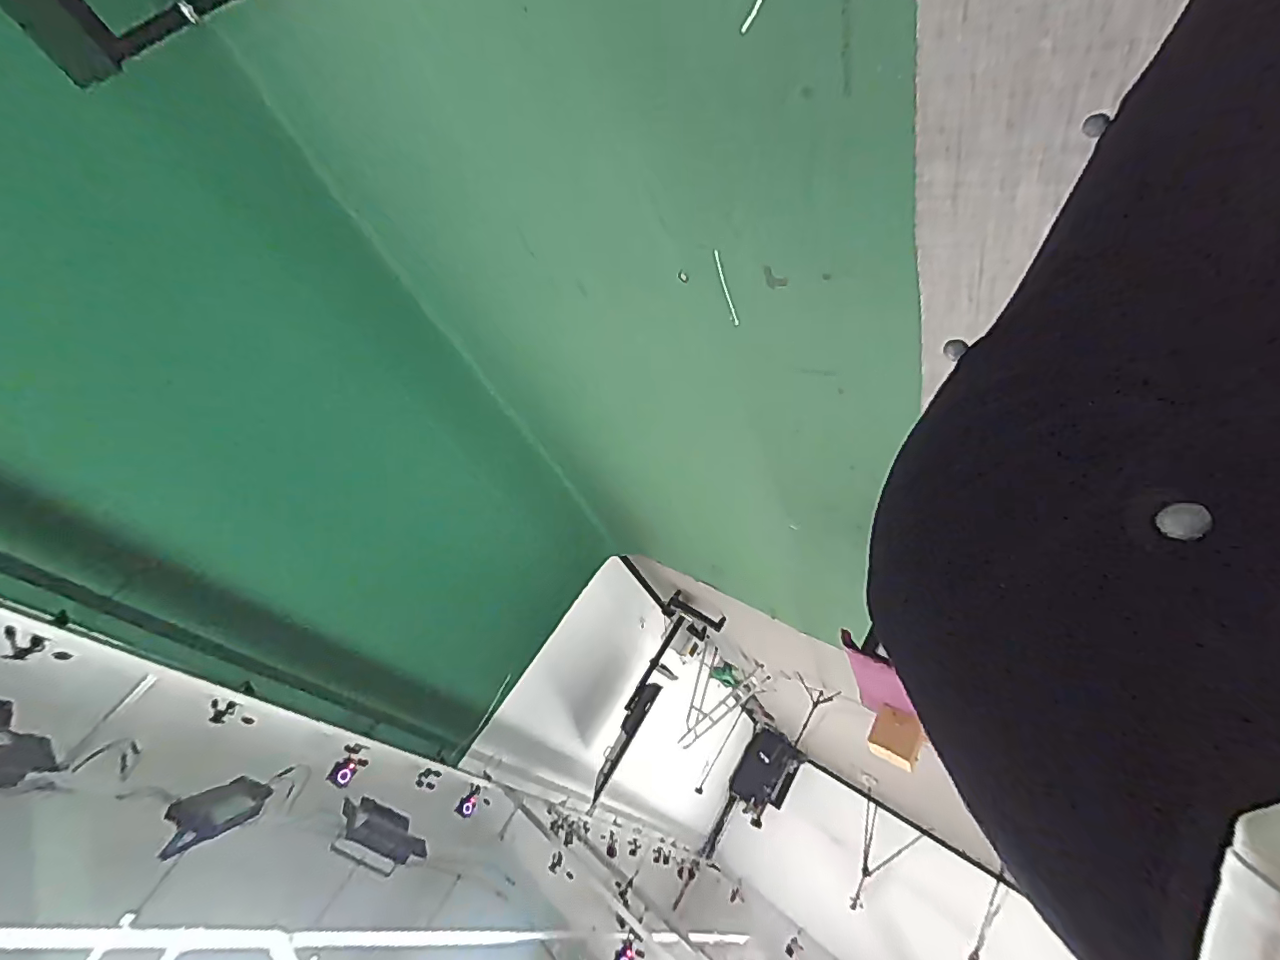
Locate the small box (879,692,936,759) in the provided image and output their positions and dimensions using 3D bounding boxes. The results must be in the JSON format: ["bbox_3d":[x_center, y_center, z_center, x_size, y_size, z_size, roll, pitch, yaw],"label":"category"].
[{"bbox_3d":[1.109,1.011,2.231,0.168,0.176,0.179,16,152,39],"label":"small box"}]
